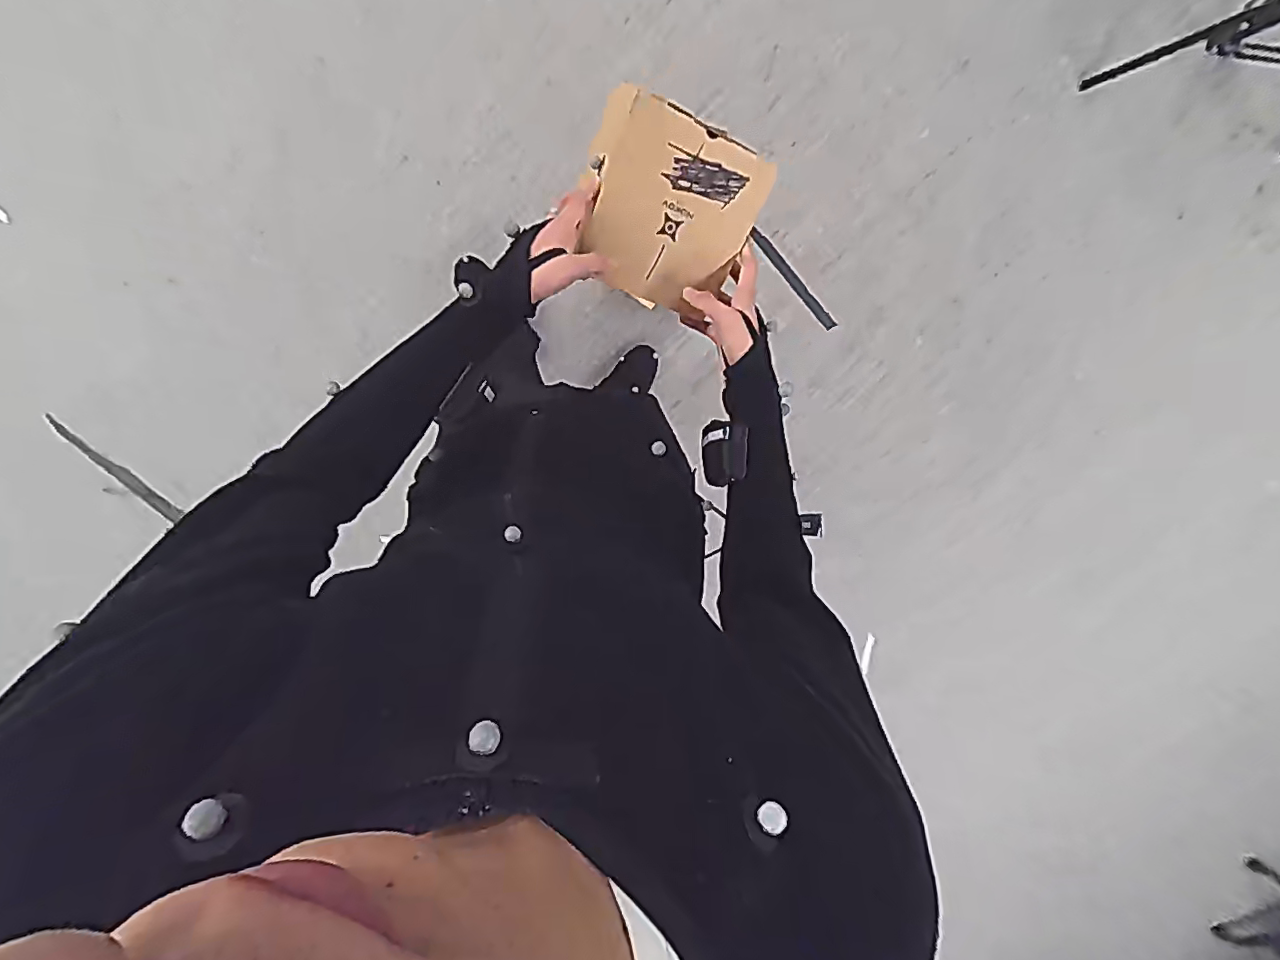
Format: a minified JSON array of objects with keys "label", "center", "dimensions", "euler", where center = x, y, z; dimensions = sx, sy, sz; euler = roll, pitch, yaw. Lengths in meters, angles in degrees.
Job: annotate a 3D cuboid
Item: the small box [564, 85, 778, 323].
[{"label":"small box","center":[0.019,-0.313,0.613],"dimensions":[0.168,0.176,0.179],"euler":[15,122,-22]}]
